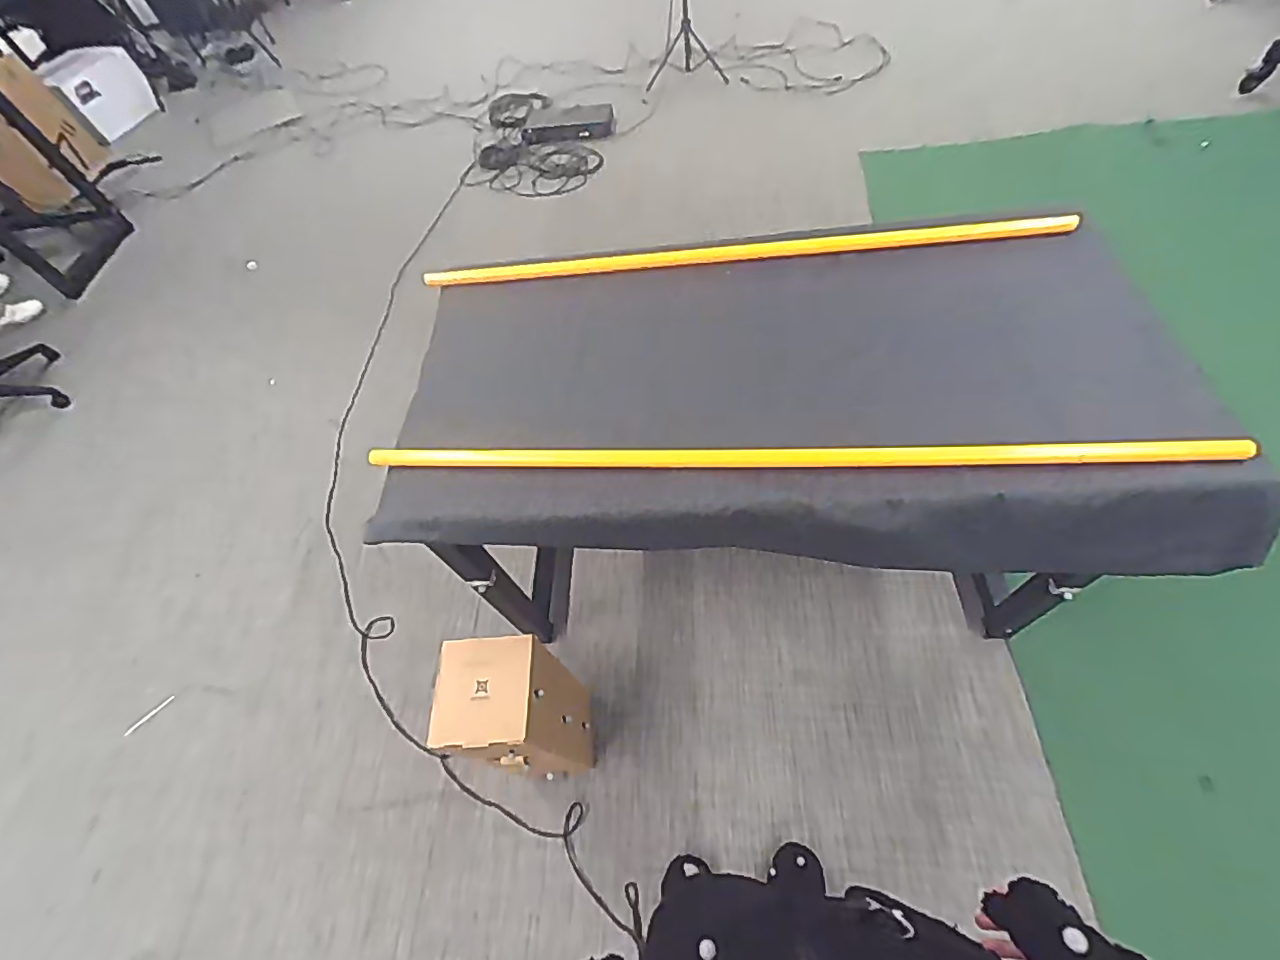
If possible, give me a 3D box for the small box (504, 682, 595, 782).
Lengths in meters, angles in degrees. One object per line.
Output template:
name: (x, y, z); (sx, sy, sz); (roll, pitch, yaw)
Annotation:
small box: (-0.202, 0.580, 1.240); (0.168, 0.176, 0.179); (-9, 57, 4)
